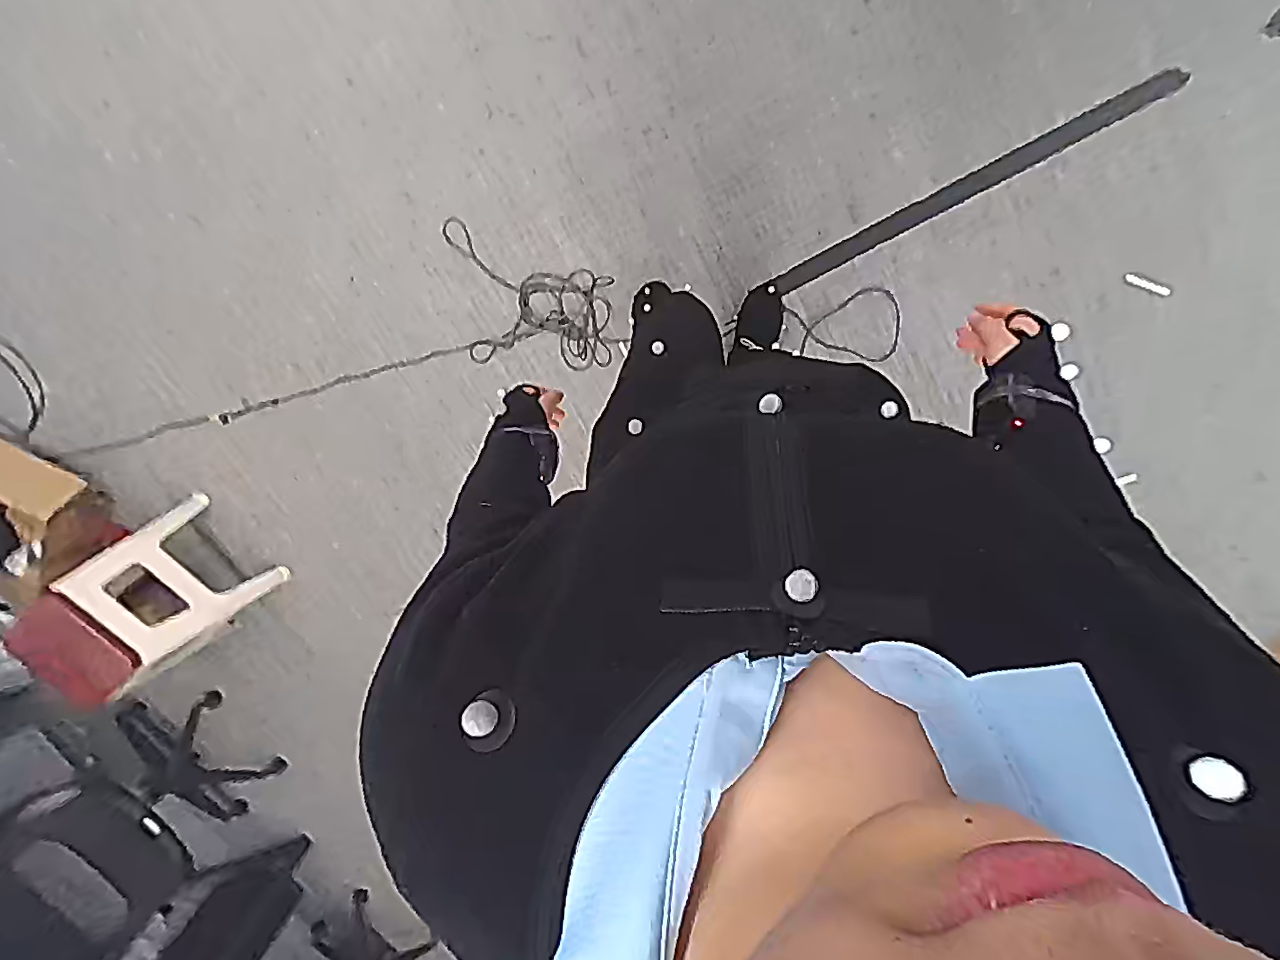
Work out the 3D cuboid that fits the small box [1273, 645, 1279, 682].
[{"bbox_3d":[1.878,0.534,1.449,0.168,0.176,0.179,-28,106,16],"label":"small box"}]
